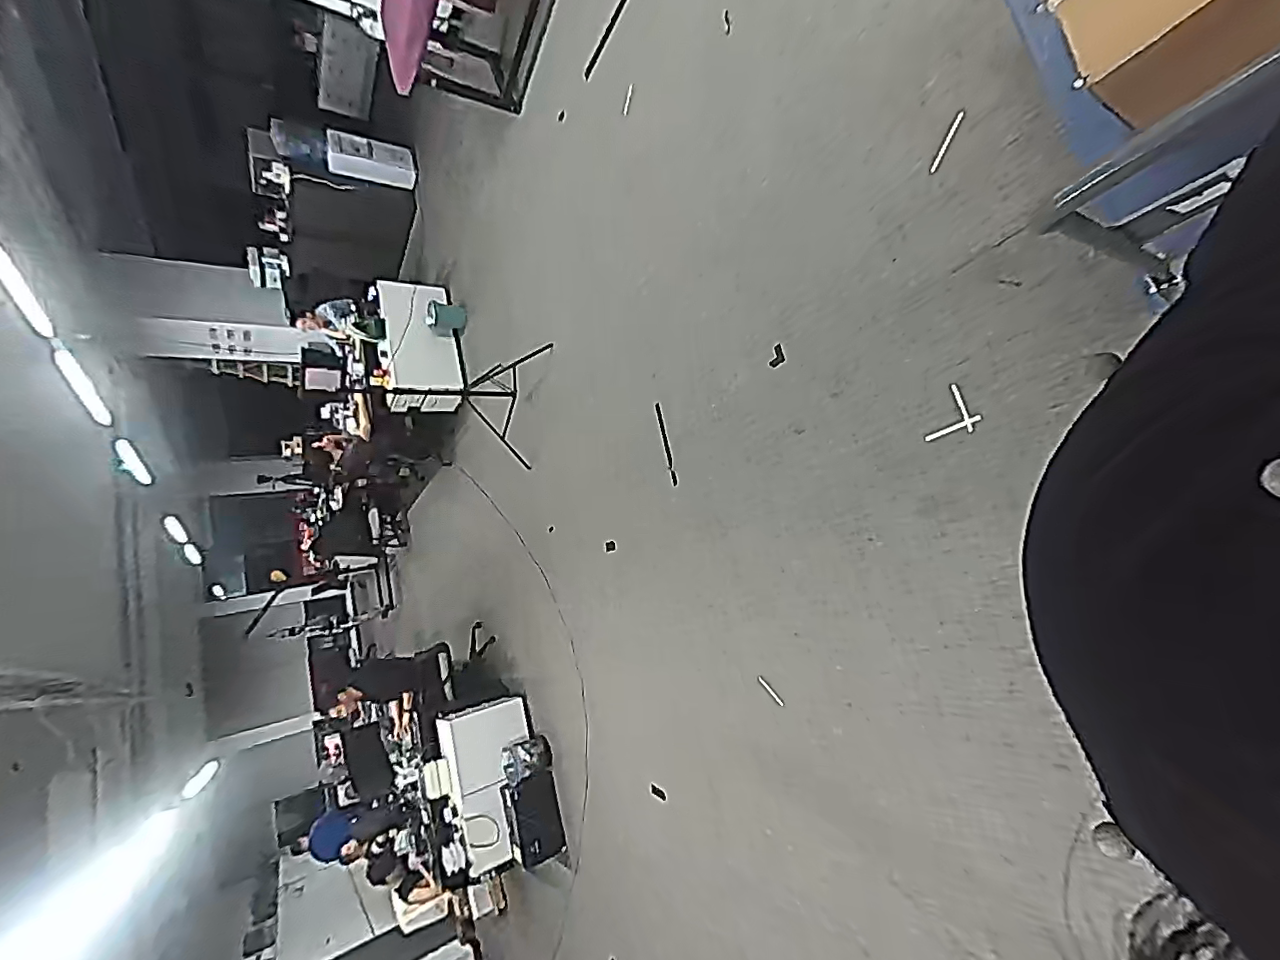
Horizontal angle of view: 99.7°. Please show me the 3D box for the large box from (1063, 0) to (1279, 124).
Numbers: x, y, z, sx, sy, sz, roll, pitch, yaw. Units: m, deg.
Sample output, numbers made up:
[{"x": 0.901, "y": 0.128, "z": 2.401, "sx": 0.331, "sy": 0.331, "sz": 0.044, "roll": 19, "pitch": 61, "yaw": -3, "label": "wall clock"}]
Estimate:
[{"x": 0.887, "y": -0.821, "z": 0.764, "sx": 0.408, "sy": 0.320, "sz": 0.320, "roll": -27, "pitch": 72, "yaw": 56, "label": "large box"}]
